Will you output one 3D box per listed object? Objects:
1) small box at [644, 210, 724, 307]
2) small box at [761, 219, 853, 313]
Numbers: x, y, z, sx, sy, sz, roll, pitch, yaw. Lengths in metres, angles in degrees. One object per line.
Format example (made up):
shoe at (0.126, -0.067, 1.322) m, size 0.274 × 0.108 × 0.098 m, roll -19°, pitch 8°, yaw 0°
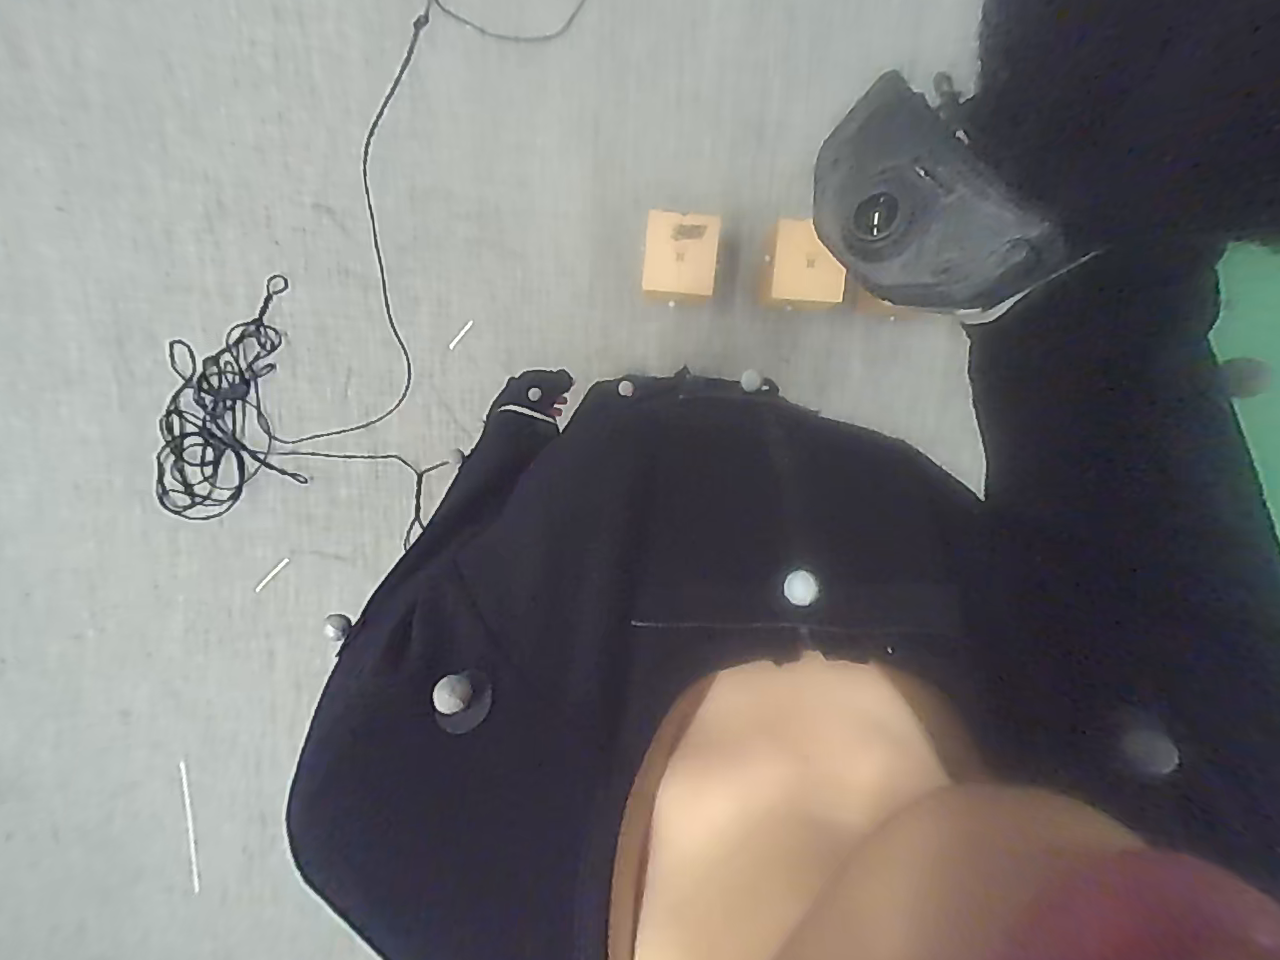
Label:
small box at (0.100, -0.525, 1.301) m, size 0.168 × 0.176 × 0.179 m, roll 6°, pitch 101°, yaw 1°
small box at (0.393, -0.505, 1.299) m, size 0.168 × 0.176 × 0.179 m, roll 4°, pitch 99°, yaw 1°
